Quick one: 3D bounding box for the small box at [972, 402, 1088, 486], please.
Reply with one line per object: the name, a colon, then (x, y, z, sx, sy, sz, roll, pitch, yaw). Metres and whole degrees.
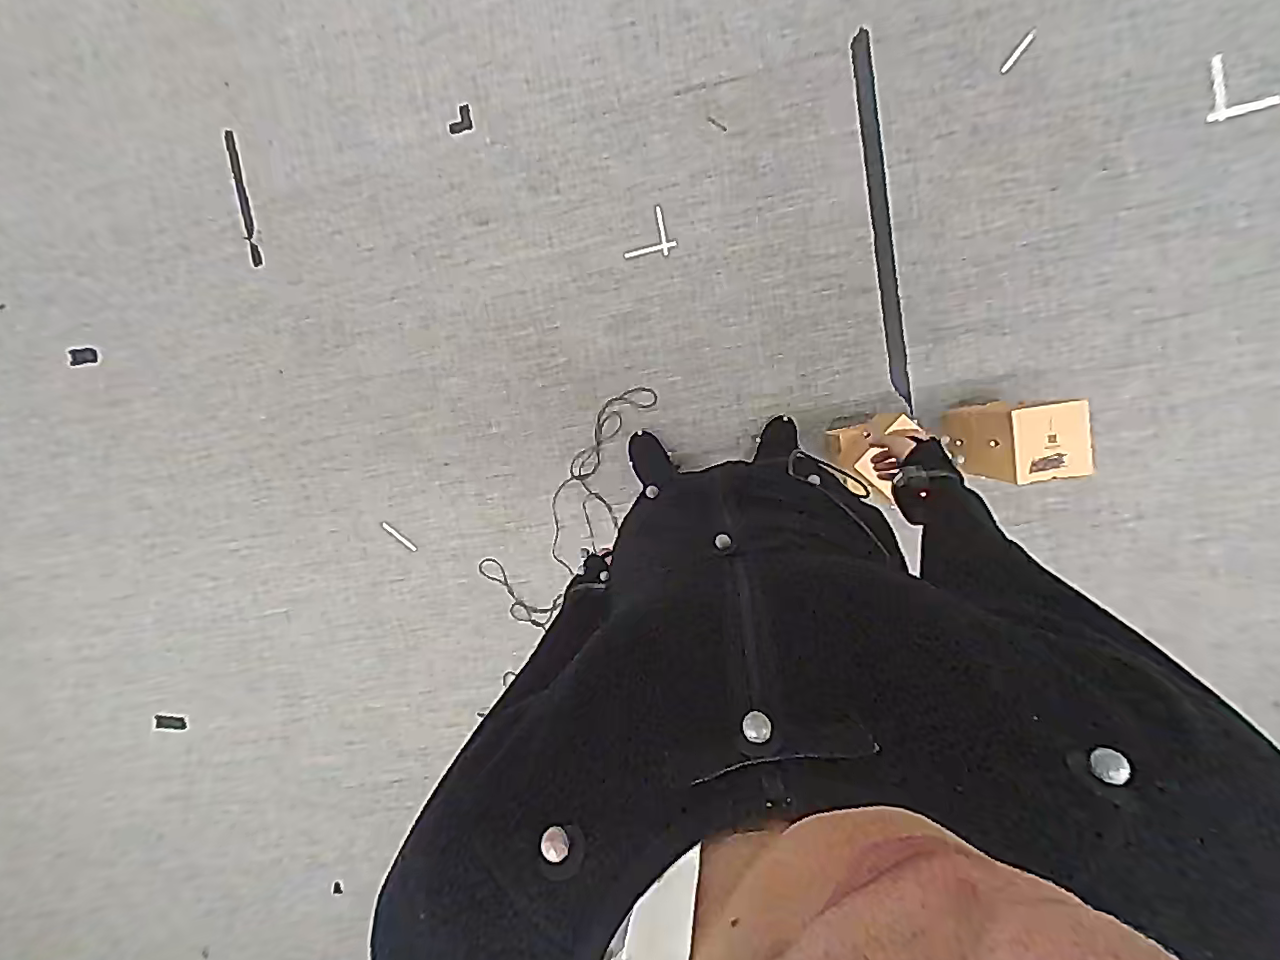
small box: (0.936, -0.092, 1.310, 0.168, 0.176, 0.179, -8, 96, 6)

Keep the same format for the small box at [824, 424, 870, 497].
small box: (0.626, -0.062, 1.511, 0.168, 0.176, 0.179, -12, 96, 7)

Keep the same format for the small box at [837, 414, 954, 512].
small box: (0.623, -0.047, 1.347, 0.179, 0.176, 0.168, 41, 100, -2)
